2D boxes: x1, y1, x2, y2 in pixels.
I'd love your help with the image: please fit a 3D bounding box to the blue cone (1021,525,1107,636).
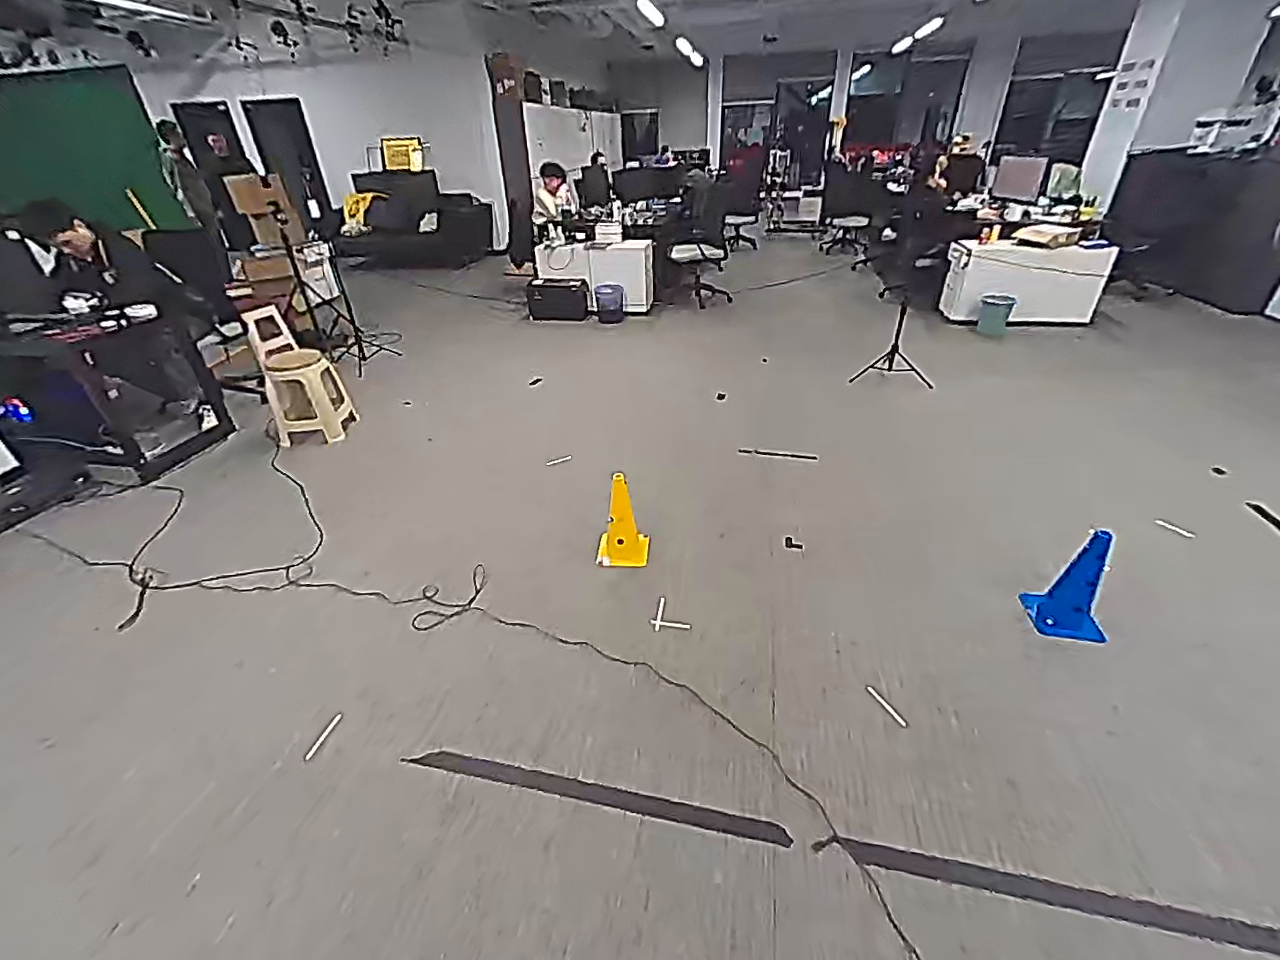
[{"bbox_3d":[1.417,0.312,1.747,0.193,0.380,0.192,5,32,12],"label":"blue cone"}]
